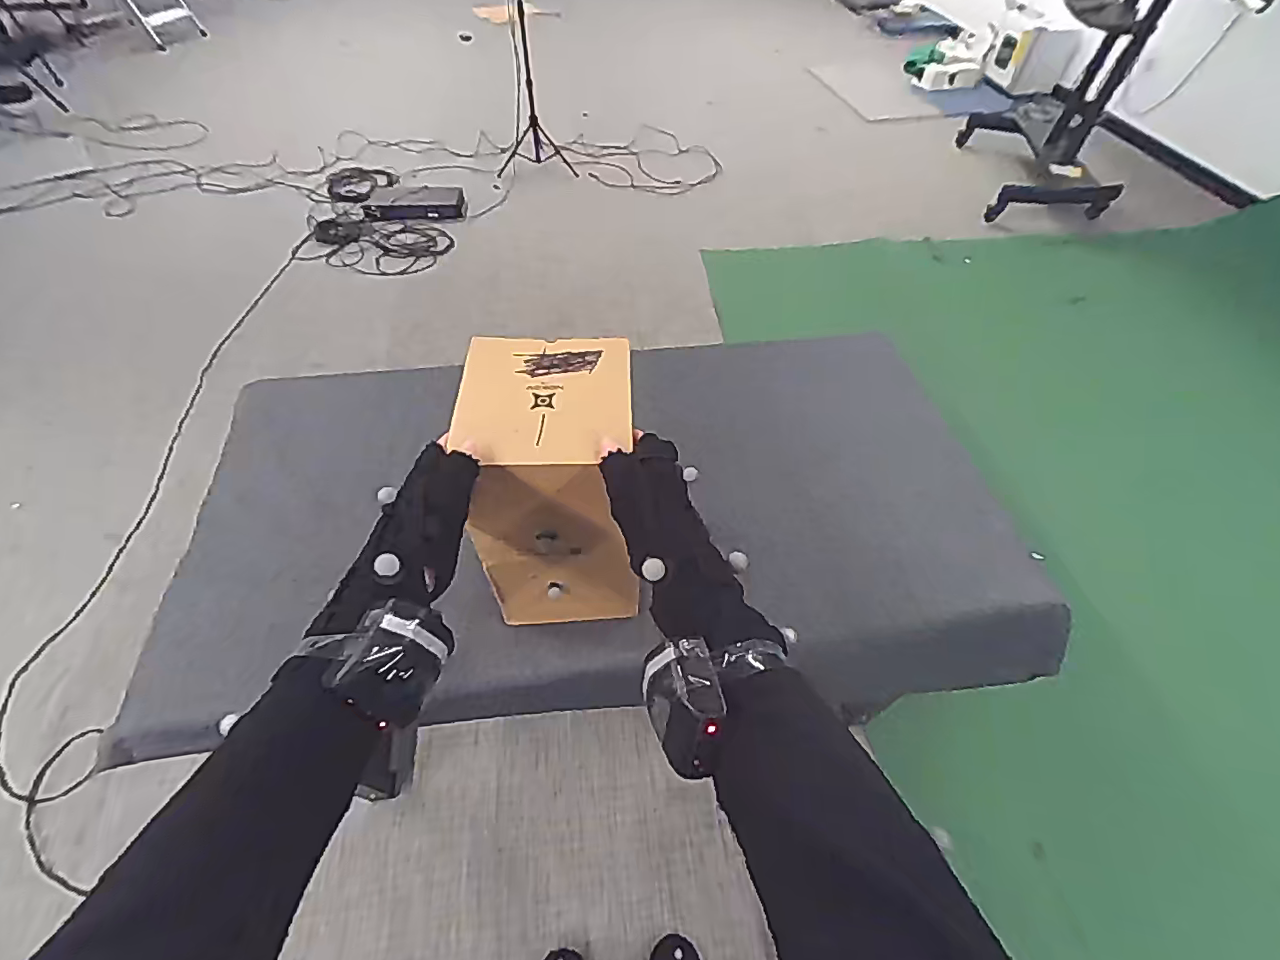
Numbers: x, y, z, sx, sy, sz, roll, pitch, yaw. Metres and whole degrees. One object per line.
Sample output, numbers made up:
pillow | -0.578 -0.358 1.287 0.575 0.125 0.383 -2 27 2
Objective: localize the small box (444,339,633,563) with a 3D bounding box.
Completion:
small box | -0.093 -0.029 0.580 0.168 0.176 0.179 0 53 -2

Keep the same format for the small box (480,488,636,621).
small box | -0.097 0.075 0.708 0.179 0.176 0.168 -3 52 -4
